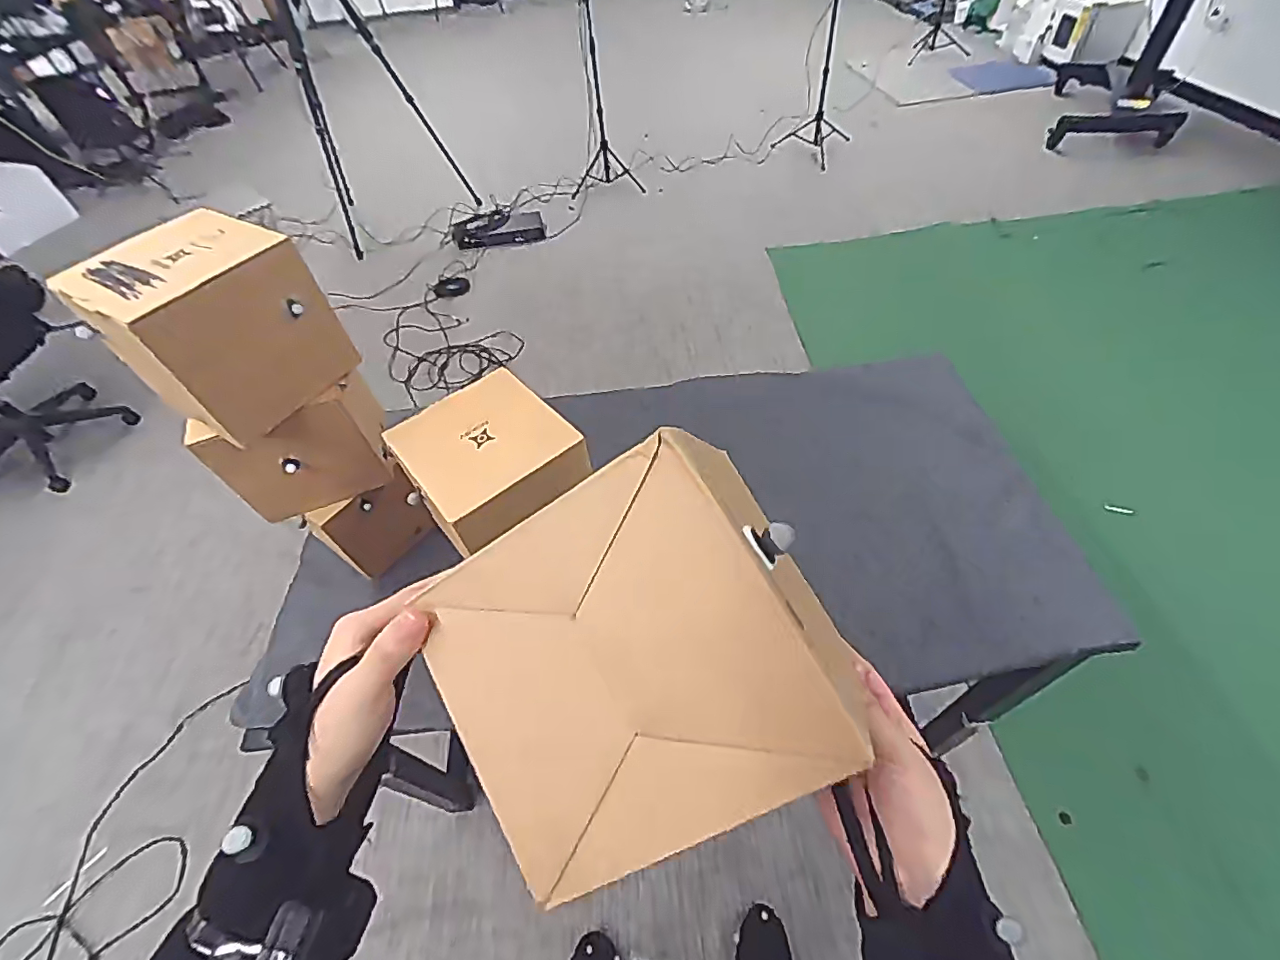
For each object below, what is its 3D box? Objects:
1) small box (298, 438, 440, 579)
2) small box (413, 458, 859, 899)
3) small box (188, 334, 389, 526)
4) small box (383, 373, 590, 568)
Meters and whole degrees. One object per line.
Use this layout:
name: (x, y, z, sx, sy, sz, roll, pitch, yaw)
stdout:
small box: (-0.455, 0.033, 0.881, 0.179, 0.176, 0.168, 27, 59, 25)
small box: (0.006, 0.096, 0.322, 0.179, 0.176, 0.168, -33, 80, 15)
small box: (-0.469, -0.067, 0.750, 0.179, 0.176, 0.168, -21, 53, -10)
small box: (-0.169, 0.009, 0.657, 0.168, 0.176, 0.179, -36, 55, -21)
